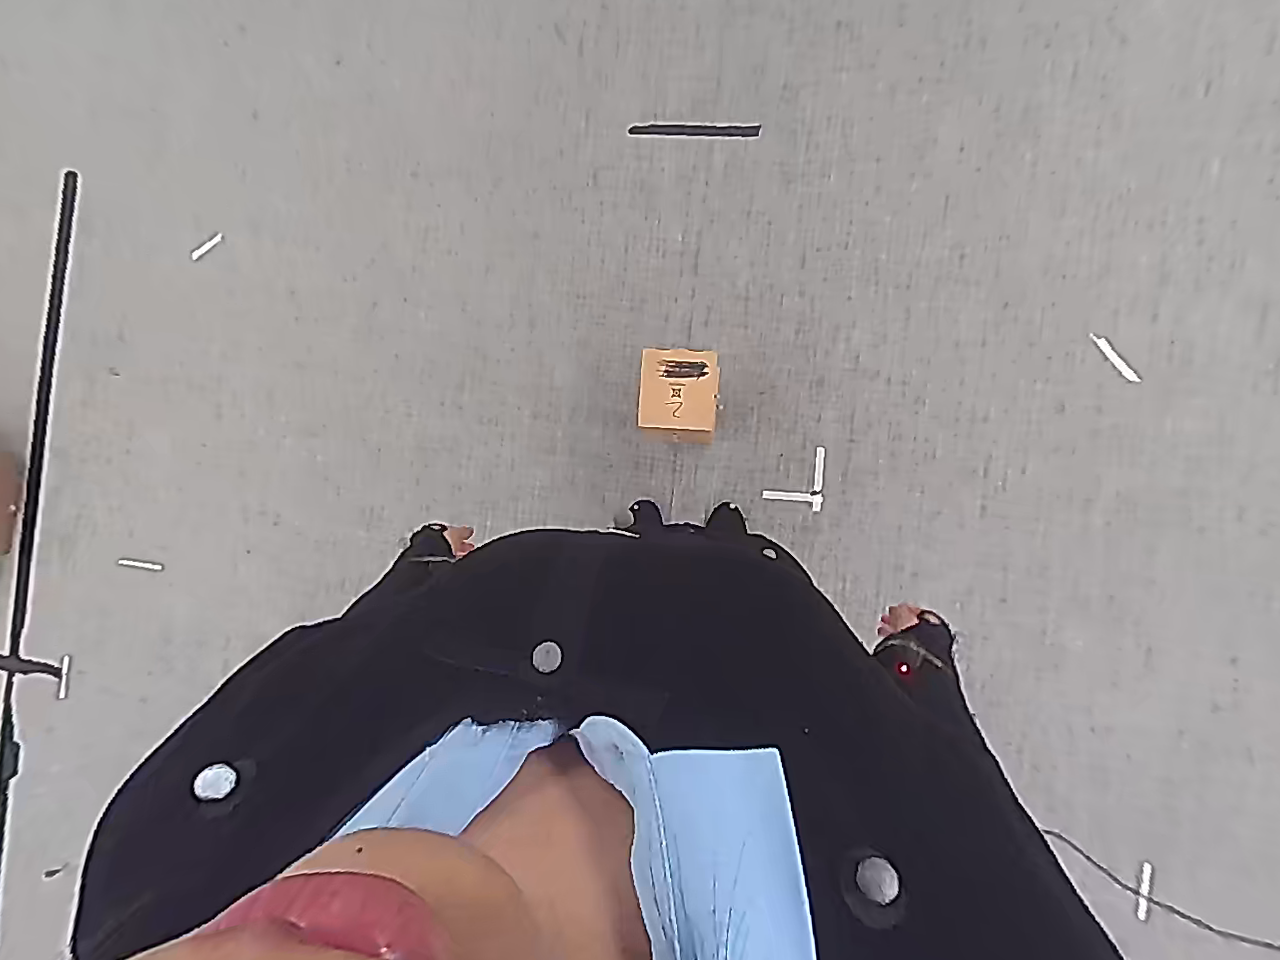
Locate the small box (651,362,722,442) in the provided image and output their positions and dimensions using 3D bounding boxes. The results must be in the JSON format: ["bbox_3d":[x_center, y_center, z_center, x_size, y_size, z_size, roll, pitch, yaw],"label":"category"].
[{"bbox_3d":[0.122,-0.199,1.416,0.168,0.176,0.179,5,90,7],"label":"small box"}]
